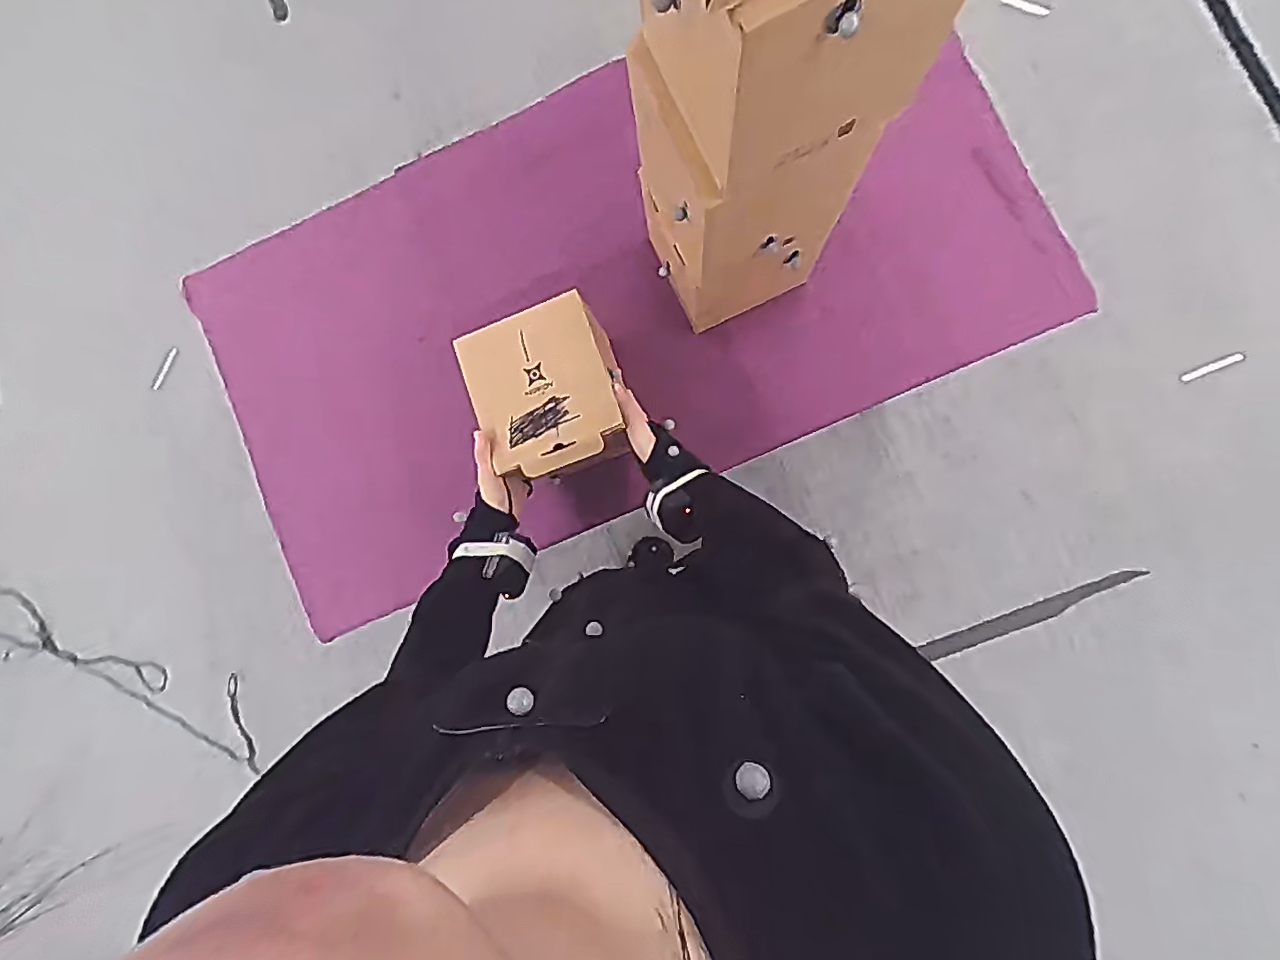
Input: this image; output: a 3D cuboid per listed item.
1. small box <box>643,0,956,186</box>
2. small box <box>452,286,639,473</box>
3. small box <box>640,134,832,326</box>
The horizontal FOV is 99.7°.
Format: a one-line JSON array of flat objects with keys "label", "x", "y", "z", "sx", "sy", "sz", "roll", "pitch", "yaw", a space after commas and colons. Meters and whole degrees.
[{"label": "small box", "x": 0.101, "y": -0.354, "z": 0.375, "sx": 0.168, "sy": 0.176, "sz": 0.179, "roll": -25, "pitch": 85, "yaw": 4}, {"label": "small box", "x": -0.111, "y": -0.114, "z": 0.708, "sx": 0.168, "sy": 0.176, "sz": 0.179, "roll": -20, "pitch": 82, "yaw": 7}, {"label": "small box", "x": 0.116, "y": -0.330, "z": 0.702, "sx": 0.179, "sy": 0.176, "sz": 0.168, "roll": -25, "pitch": 84, "yaw": 5}]
